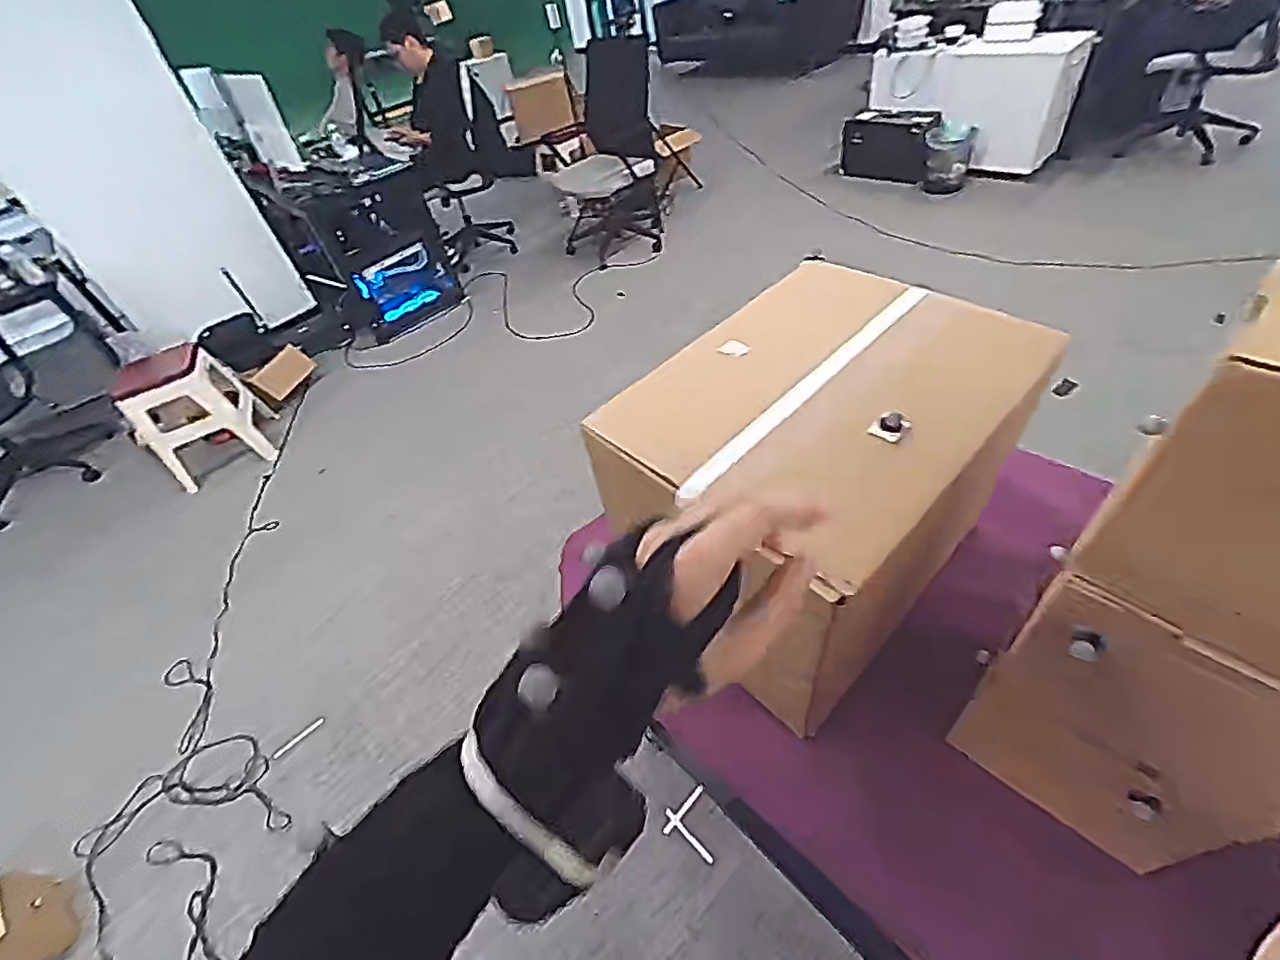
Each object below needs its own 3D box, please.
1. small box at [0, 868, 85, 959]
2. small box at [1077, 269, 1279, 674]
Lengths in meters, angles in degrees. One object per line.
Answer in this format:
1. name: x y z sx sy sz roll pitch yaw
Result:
1. small box: -1.403 1.015 1.198 0.179 0.176 0.168 27 59 32
2. small box: 0.378 -0.002 0.270 0.168 0.176 0.179 -38 50 -22
